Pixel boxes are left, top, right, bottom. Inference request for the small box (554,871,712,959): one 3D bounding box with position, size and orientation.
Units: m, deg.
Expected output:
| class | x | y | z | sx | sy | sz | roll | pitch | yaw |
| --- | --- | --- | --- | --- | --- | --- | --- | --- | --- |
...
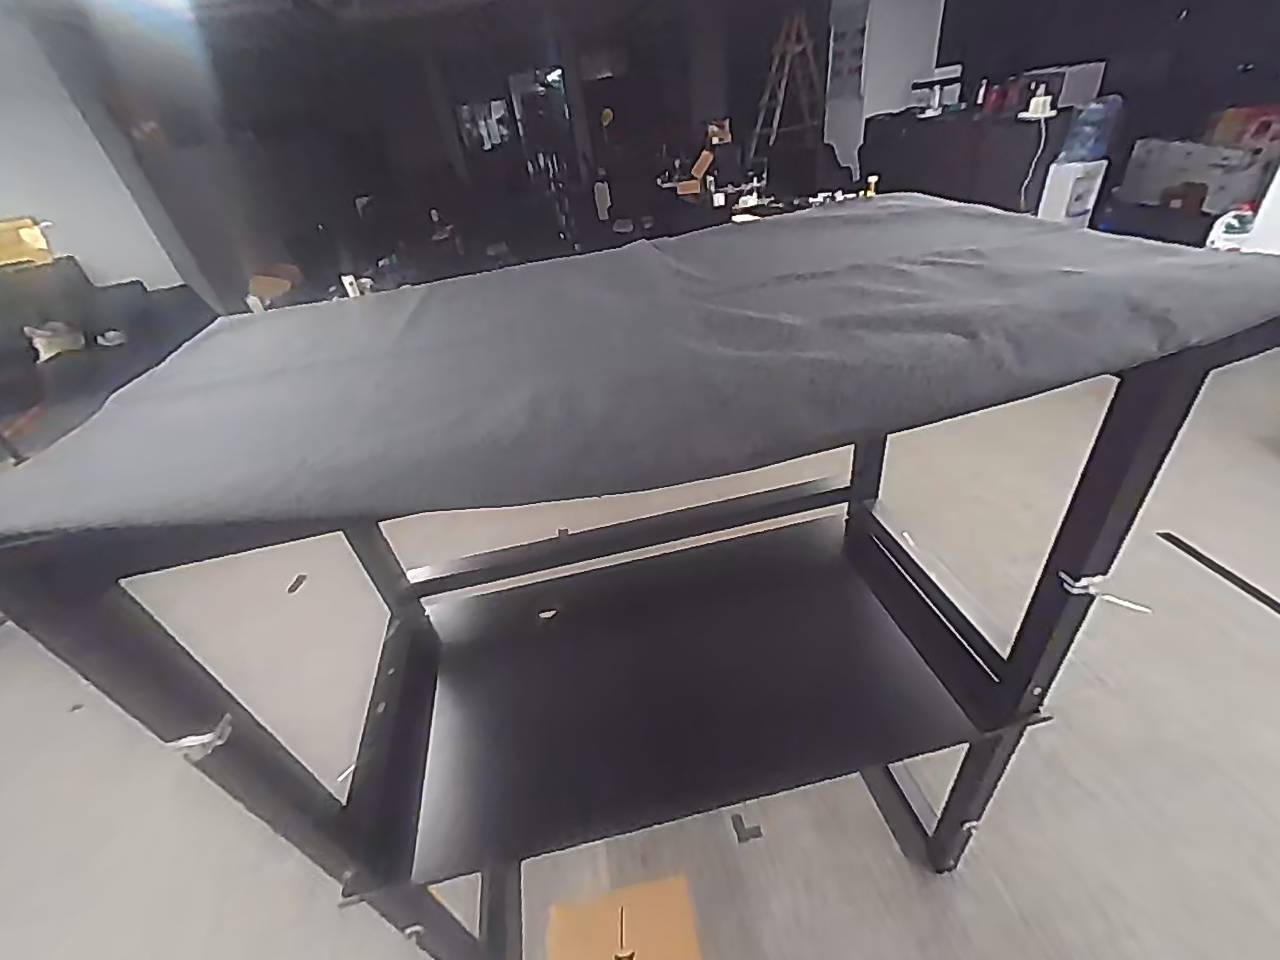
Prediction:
| class | x | y | z | sx | sy | sz | roll | pitch | yaw |
| --- | --- | --- | --- | --- | --- | --- | --- | --- | --- |
| small box | 0.004 | 0.584 | 0.591 | 0.168 | 0.176 | 0.179 | -11 | 23 | -2 |
